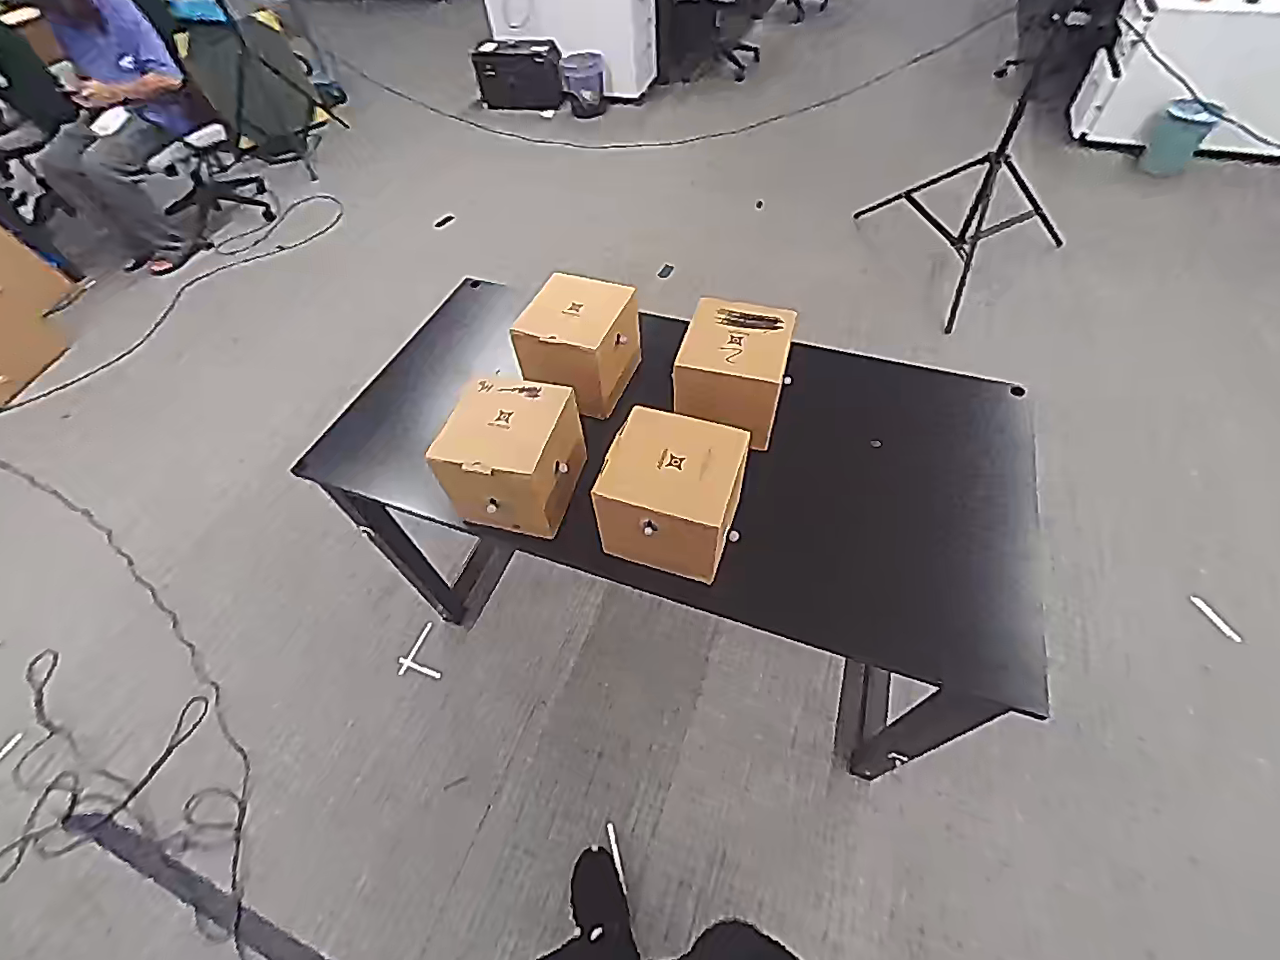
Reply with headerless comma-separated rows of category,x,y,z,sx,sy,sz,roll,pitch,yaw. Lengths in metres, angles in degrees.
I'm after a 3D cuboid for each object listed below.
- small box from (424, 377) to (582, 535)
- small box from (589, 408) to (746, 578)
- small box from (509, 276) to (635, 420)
small box,-0.200,-0.034,0.853,0.168,0.176,0.179,10,55,11
small box,0.044,0.023,0.795,0.179,0.176,0.168,14,57,13
small box,-0.114,-0.243,1.002,0.168,0.176,0.179,16,57,15
